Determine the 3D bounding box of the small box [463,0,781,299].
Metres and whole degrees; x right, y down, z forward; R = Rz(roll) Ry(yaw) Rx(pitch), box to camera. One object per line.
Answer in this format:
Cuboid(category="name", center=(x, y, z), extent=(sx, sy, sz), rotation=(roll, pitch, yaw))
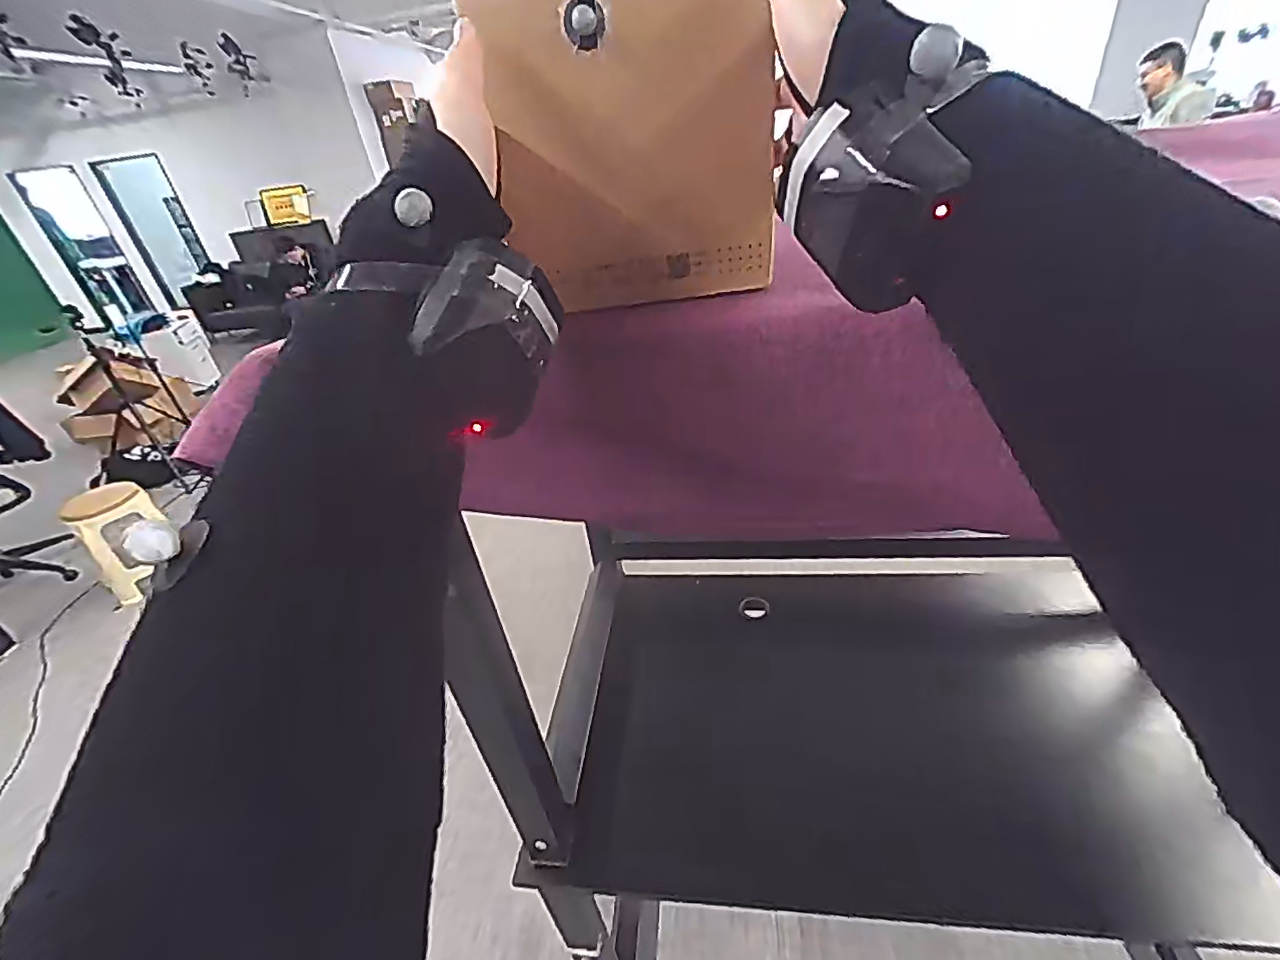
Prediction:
Cuboid(category="small box", center=(-0.007, -0.233, 0.378), extent=(0.168, 0.176, 0.179), rotation=(-7, 31, 1))
